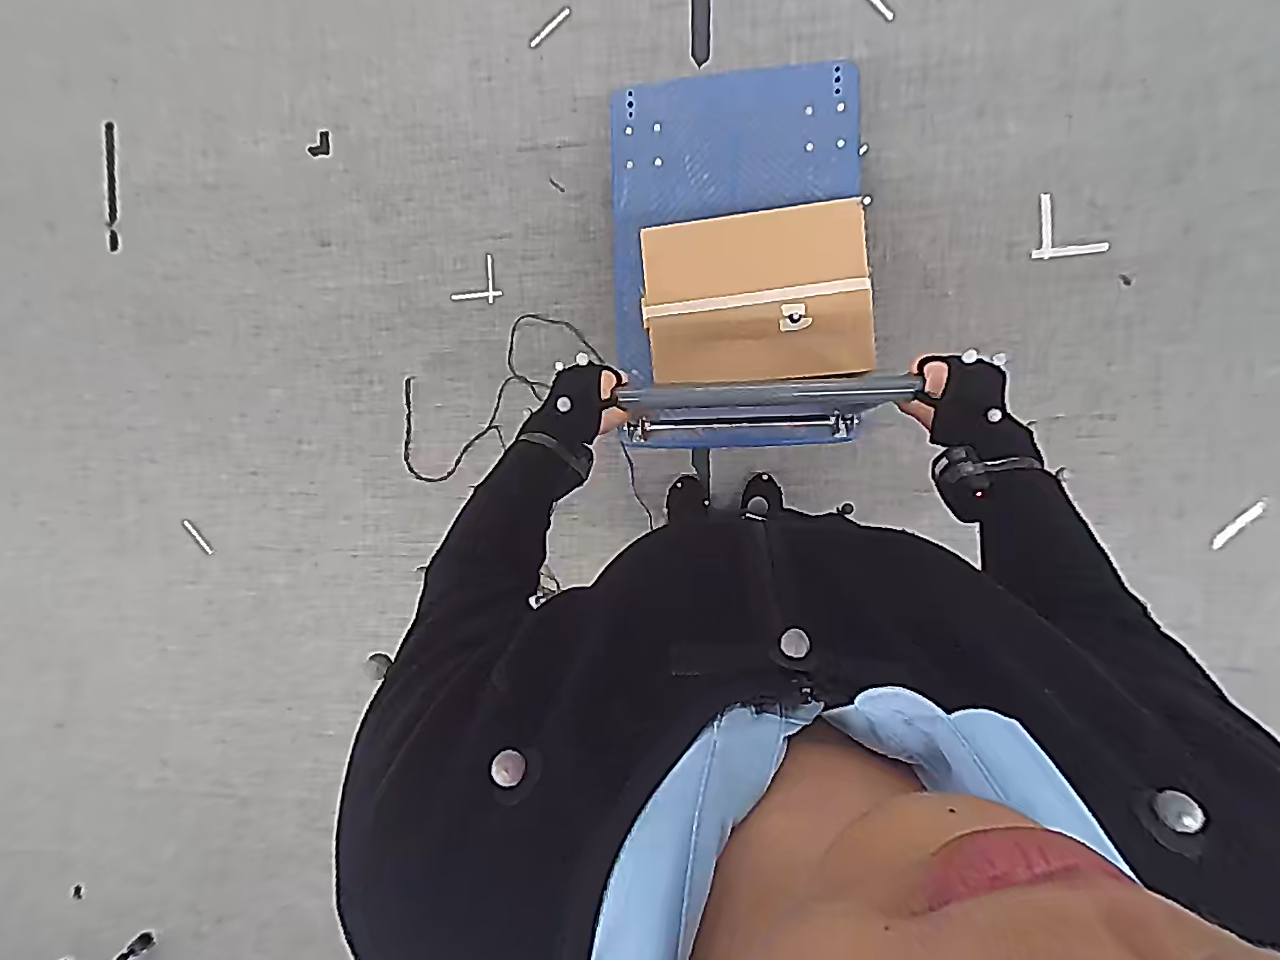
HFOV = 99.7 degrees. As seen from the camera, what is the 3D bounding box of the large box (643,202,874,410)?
[{"bbox_3d":[0.232,-0.338,1.153,0.408,0.320,0.320,-5,93,6],"label":"large box"}]
